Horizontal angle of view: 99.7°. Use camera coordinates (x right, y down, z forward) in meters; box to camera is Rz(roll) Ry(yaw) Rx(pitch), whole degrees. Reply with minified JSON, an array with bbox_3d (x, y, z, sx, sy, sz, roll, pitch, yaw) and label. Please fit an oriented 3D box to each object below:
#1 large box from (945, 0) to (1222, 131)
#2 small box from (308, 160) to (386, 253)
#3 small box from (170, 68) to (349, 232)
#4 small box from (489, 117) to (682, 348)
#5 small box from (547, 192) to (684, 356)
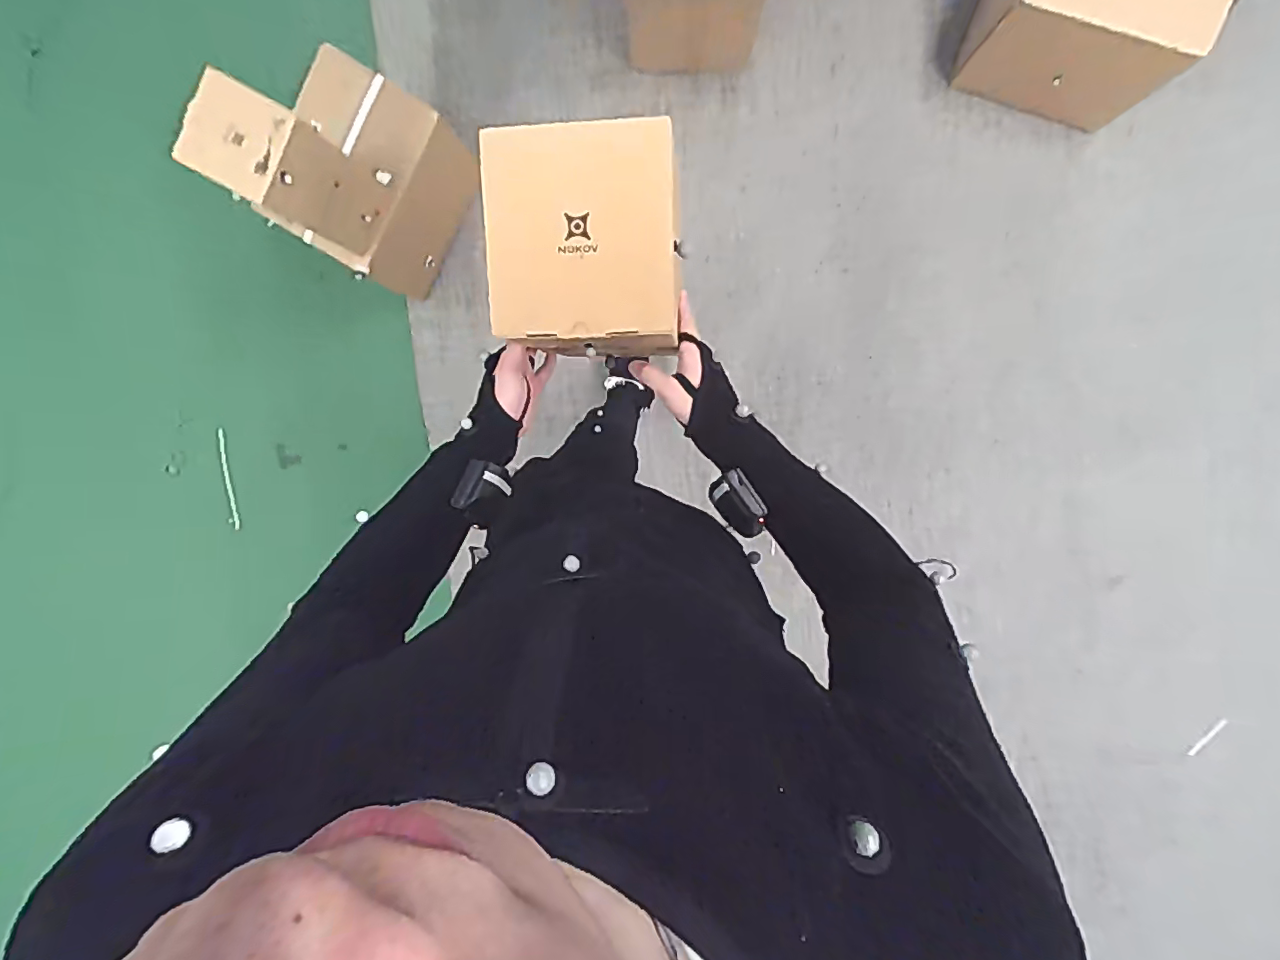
[{"bbox_3d":[1.023,-1.088,1.252,0.408,0.320,0.320,18,97,2],"label":"large box"},{"bbox_3d":[-0.687,-0.613,1.155,0.179,0.176,0.168,29,98,-2],"label":"small box"},{"bbox_3d":[-0.685,-0.587,0.992,0.179,0.176,0.168,29,98,-1],"label":"small box"},{"bbox_3d":[-0.042,-0.230,0.547,0.168,0.176,0.179,0,101,5],"label":"small box"},{"bbox_3d":[-0.028,-0.257,0.706,0.168,0.176,0.179,1,101,5],"label":"small box"}]
